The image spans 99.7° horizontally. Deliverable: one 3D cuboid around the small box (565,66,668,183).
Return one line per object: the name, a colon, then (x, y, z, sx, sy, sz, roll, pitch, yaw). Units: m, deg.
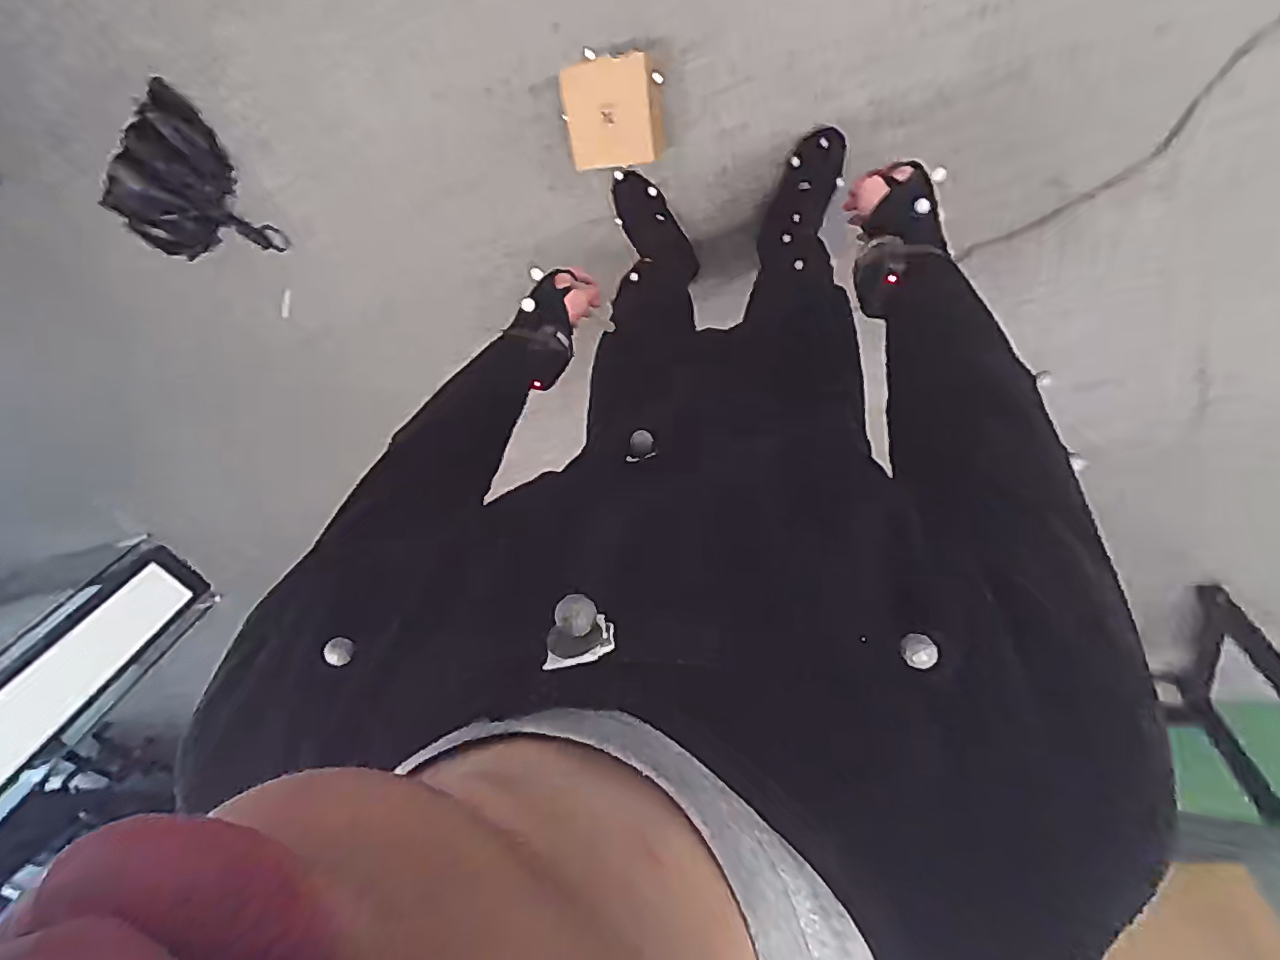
small box: (-0.039, -0.722, 1.107, 0.168, 0.176, 0.179, 0, 123, 13)
